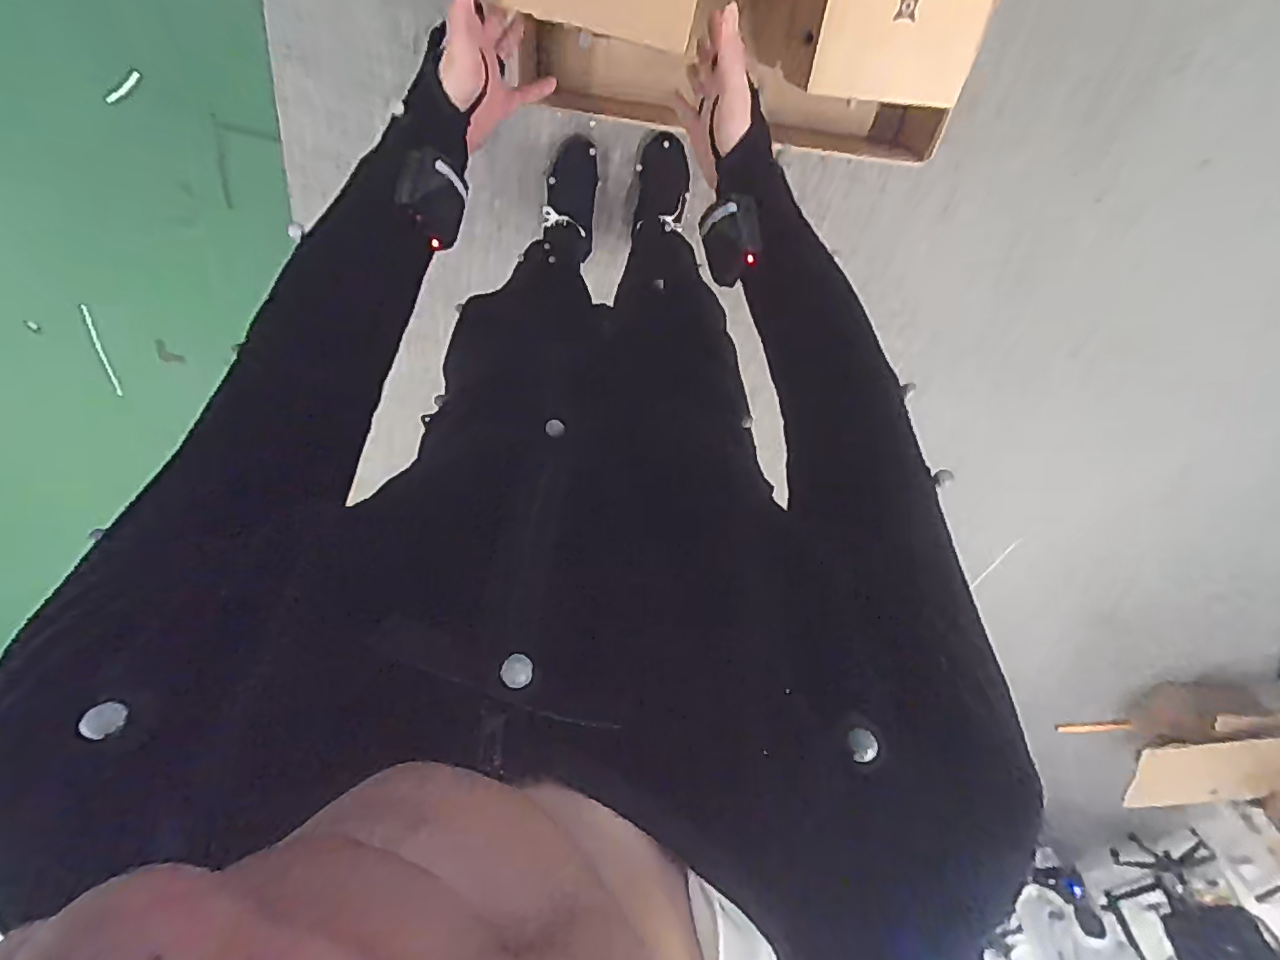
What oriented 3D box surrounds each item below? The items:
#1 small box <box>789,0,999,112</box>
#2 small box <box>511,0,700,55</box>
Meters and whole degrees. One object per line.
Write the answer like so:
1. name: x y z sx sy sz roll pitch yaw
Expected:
1. small box: 0.271 -0.524 0.586 0.168 0.176 0.179 5 130 -3
2. small box: -0.018 -0.472 0.432 0.168 0.176 0.179 12 129 -6
